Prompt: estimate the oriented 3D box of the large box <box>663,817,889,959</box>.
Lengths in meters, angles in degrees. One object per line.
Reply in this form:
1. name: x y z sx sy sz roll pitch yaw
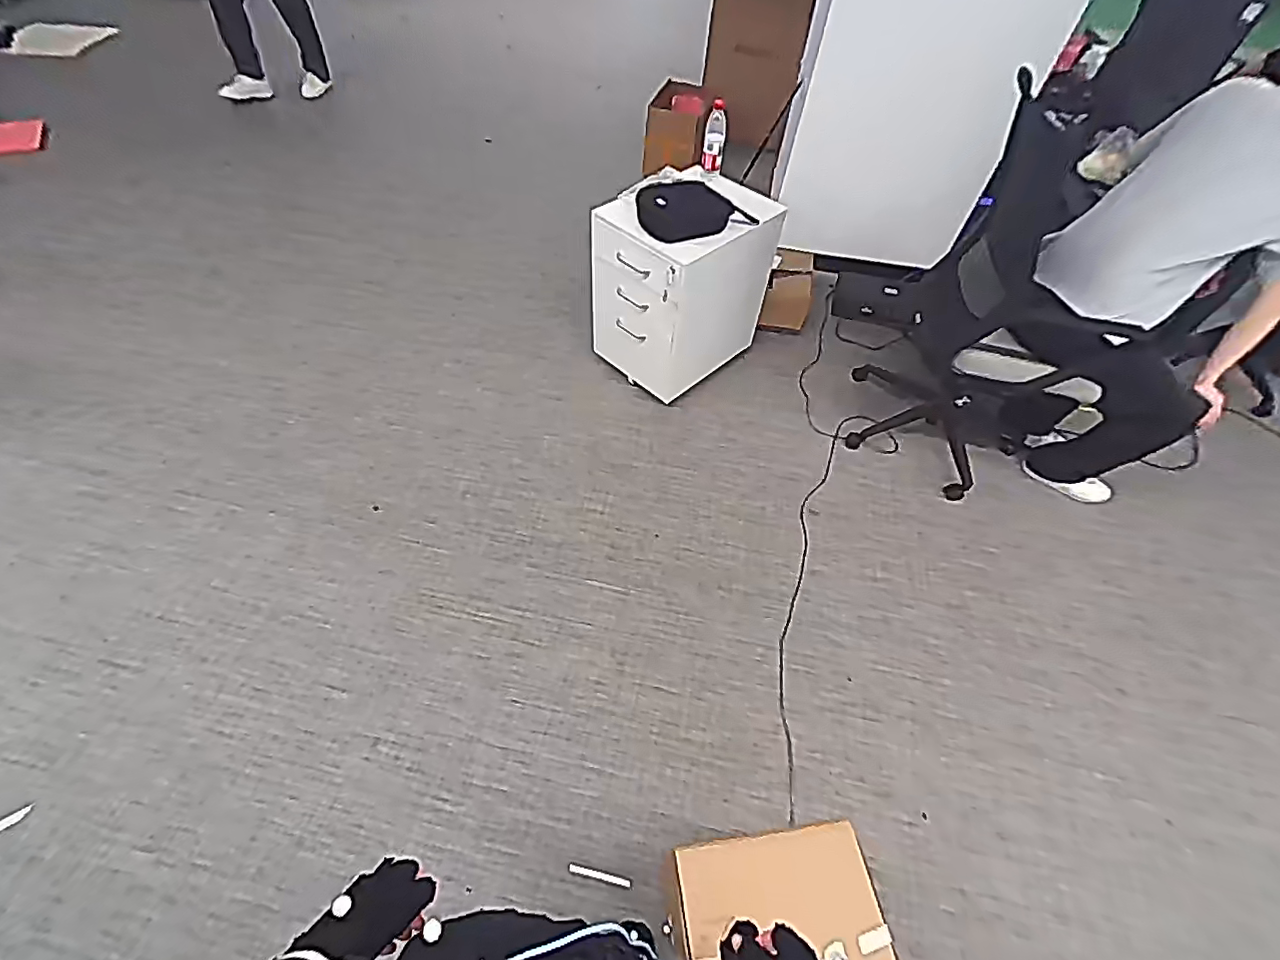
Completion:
1. large box: 0.226 0.841 0.983 0.320 0.408 0.320 -6 52 -5
